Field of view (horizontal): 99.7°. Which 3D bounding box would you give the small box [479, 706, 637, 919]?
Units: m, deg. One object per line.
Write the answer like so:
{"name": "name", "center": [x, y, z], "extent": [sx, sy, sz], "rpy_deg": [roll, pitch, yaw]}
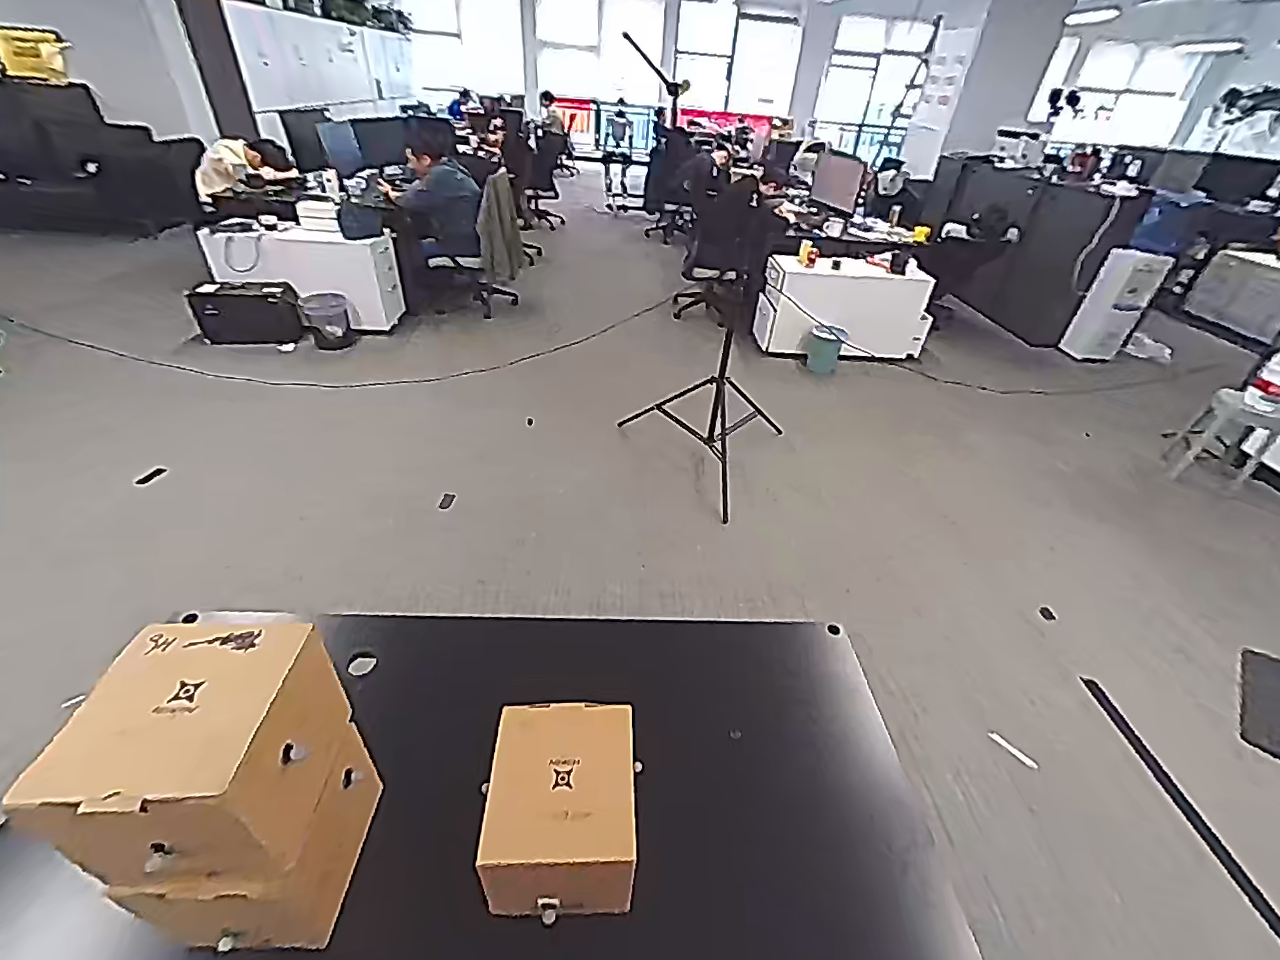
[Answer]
{"name": "small box", "center": [-0.092, 0.407, 0.670], "extent": [0.168, 0.176, 0.179], "rpy_deg": [0, 37, -4]}

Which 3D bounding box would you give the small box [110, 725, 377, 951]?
{"name": "small box", "center": [-0.428, 0.408, 0.628], "extent": [0.168, 0.176, 0.179], "rpy_deg": [2, 36, -2]}

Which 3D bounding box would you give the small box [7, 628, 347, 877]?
{"name": "small box", "center": [-0.420, 0.270, 0.539], "extent": [0.168, 0.176, 0.179], "rpy_deg": [1, 37, -5]}
